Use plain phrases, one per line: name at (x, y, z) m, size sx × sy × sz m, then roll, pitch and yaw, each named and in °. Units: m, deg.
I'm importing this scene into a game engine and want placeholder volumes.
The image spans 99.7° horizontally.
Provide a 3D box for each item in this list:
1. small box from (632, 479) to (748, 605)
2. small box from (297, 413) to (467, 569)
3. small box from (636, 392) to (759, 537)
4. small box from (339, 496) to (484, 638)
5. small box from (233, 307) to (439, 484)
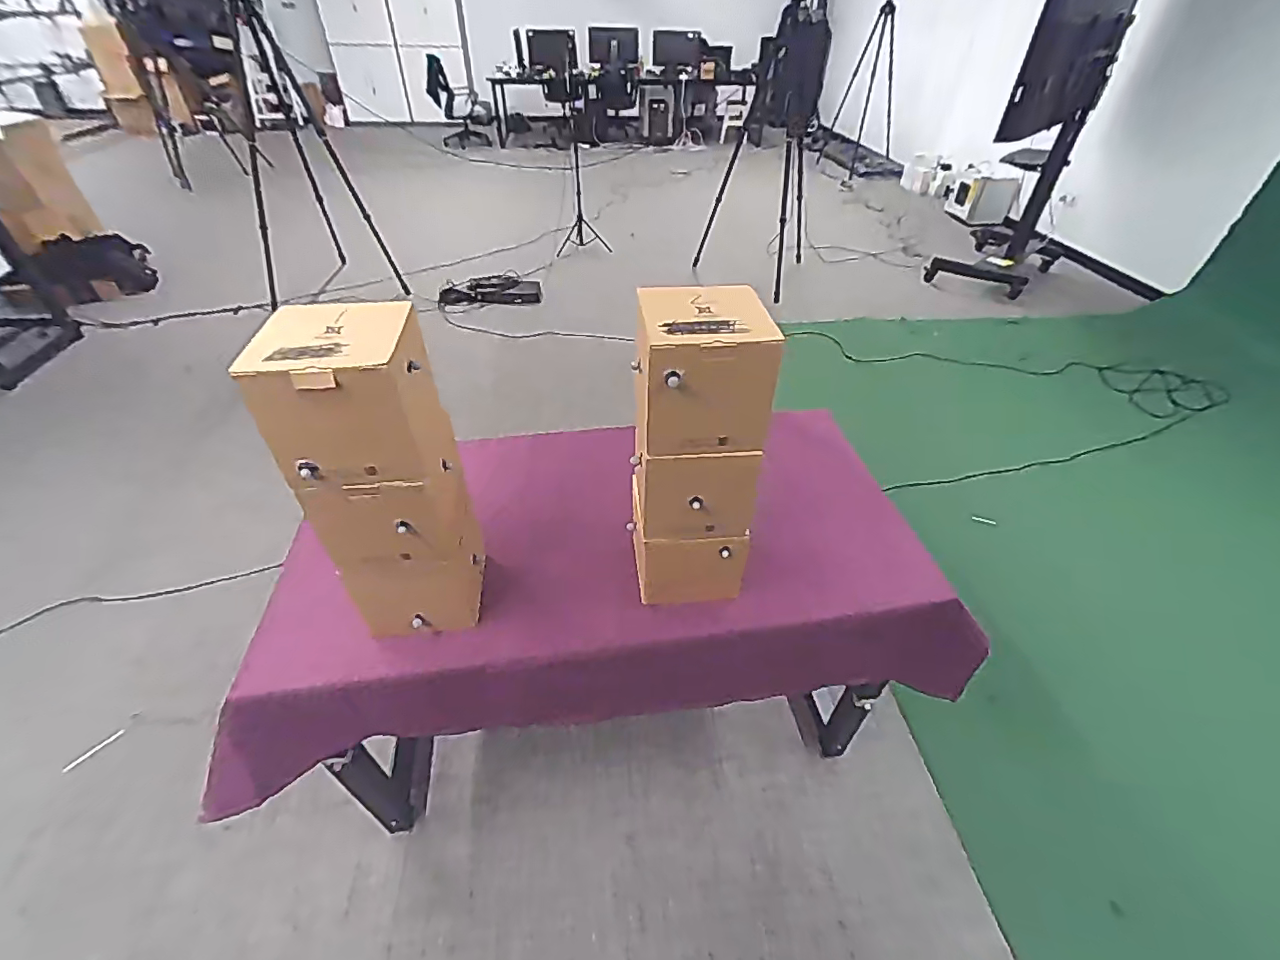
small box at (0.081, 0.106, 0.963) m, size 0.179 × 0.176 × 0.168 m, roll -3°, pitch 41°, yaw -5°
small box at (-0.365, 0.020, 0.809) m, size 0.168 × 0.176 × 0.179 m, roll -3°, pitch 41°, yaw -5°
small box at (0.081, -0.021, 0.859) m, size 0.168 × 0.176 × 0.179 m, roll -2°, pitch 41°, yaw -3°
small box at (-0.368, 0.146, 0.912) m, size 0.179 × 0.176 × 0.168 m, roll -4°, pitch 41°, yaw -6°
small box at (-0.371, -0.107, 0.704) m, size 0.168 × 0.176 × 0.179 m, roll -5°, pitch 41°, yaw -7°
